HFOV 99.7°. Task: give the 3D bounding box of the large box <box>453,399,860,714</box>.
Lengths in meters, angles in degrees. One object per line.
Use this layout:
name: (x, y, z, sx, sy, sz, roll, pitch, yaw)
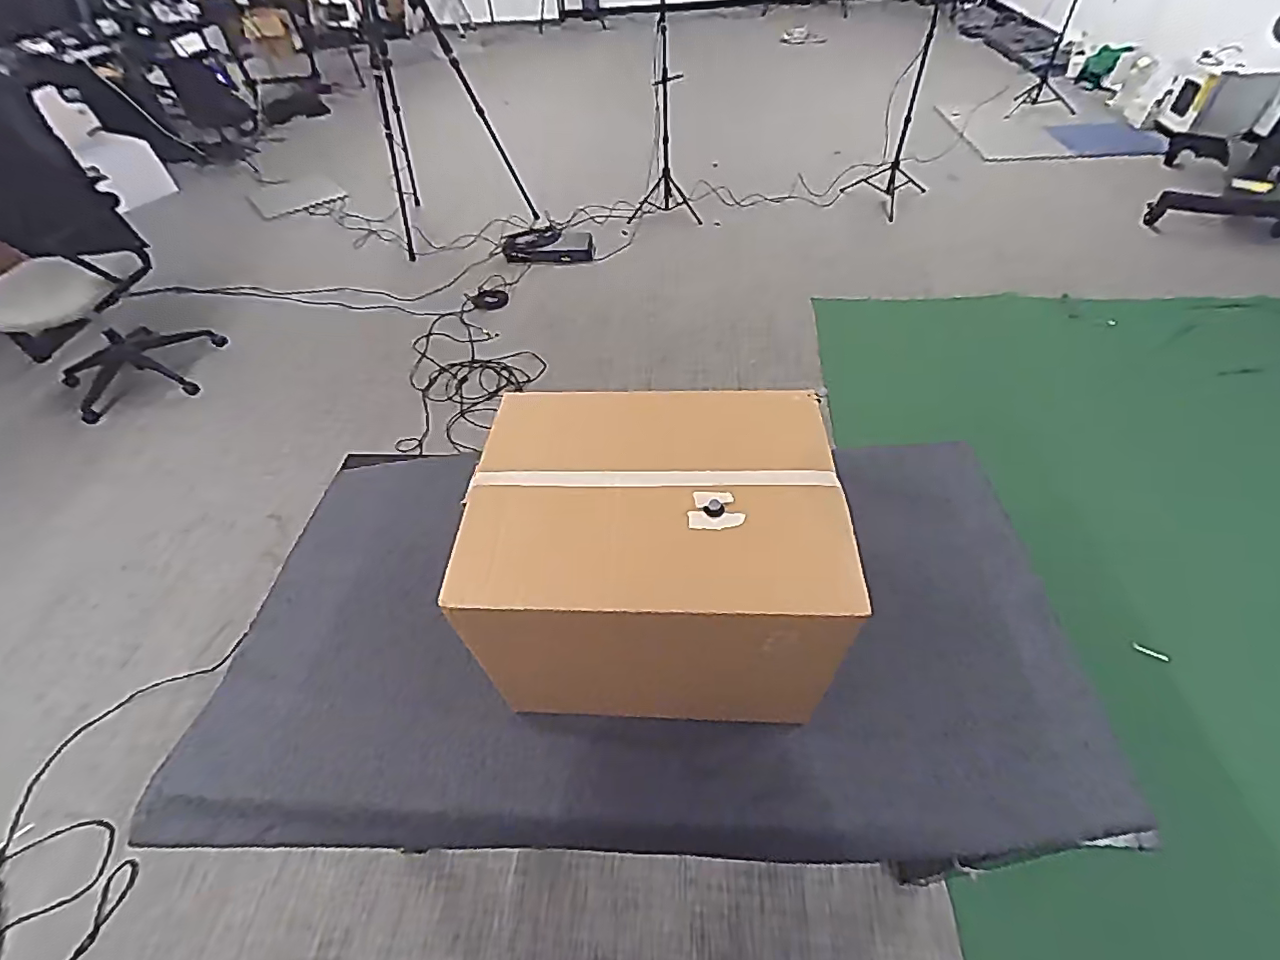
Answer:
large box: (0.022, 0.107, 0.727, 0.408, 0.320, 0.320, 0, 50, 4)
